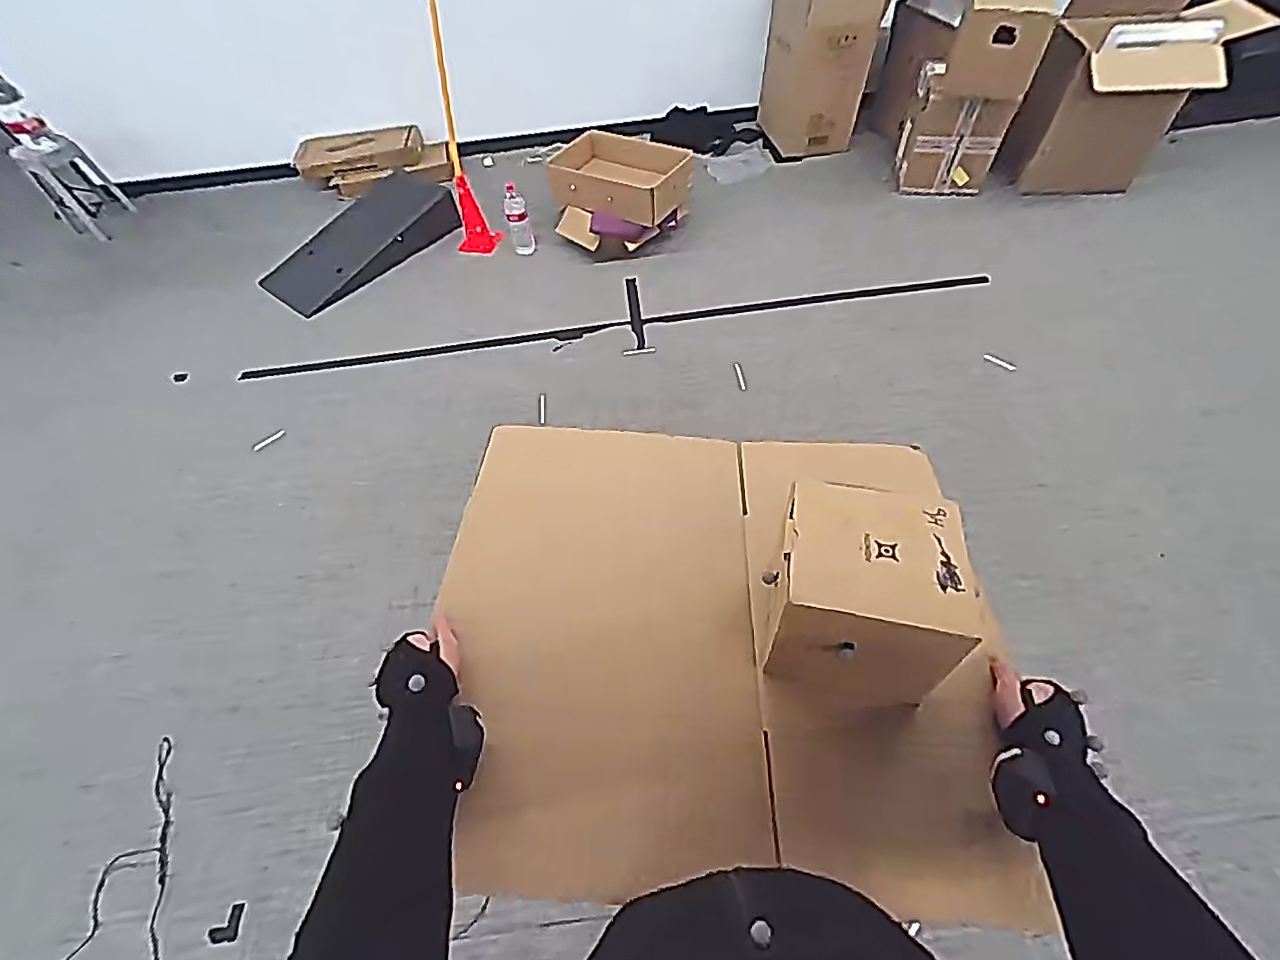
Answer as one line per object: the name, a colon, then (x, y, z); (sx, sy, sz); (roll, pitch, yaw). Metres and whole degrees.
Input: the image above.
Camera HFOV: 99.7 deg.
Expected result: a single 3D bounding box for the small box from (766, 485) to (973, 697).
small box: (0.245, 0.129, 0.620); (0.179, 0.176, 0.168); (8, 50, 11)
